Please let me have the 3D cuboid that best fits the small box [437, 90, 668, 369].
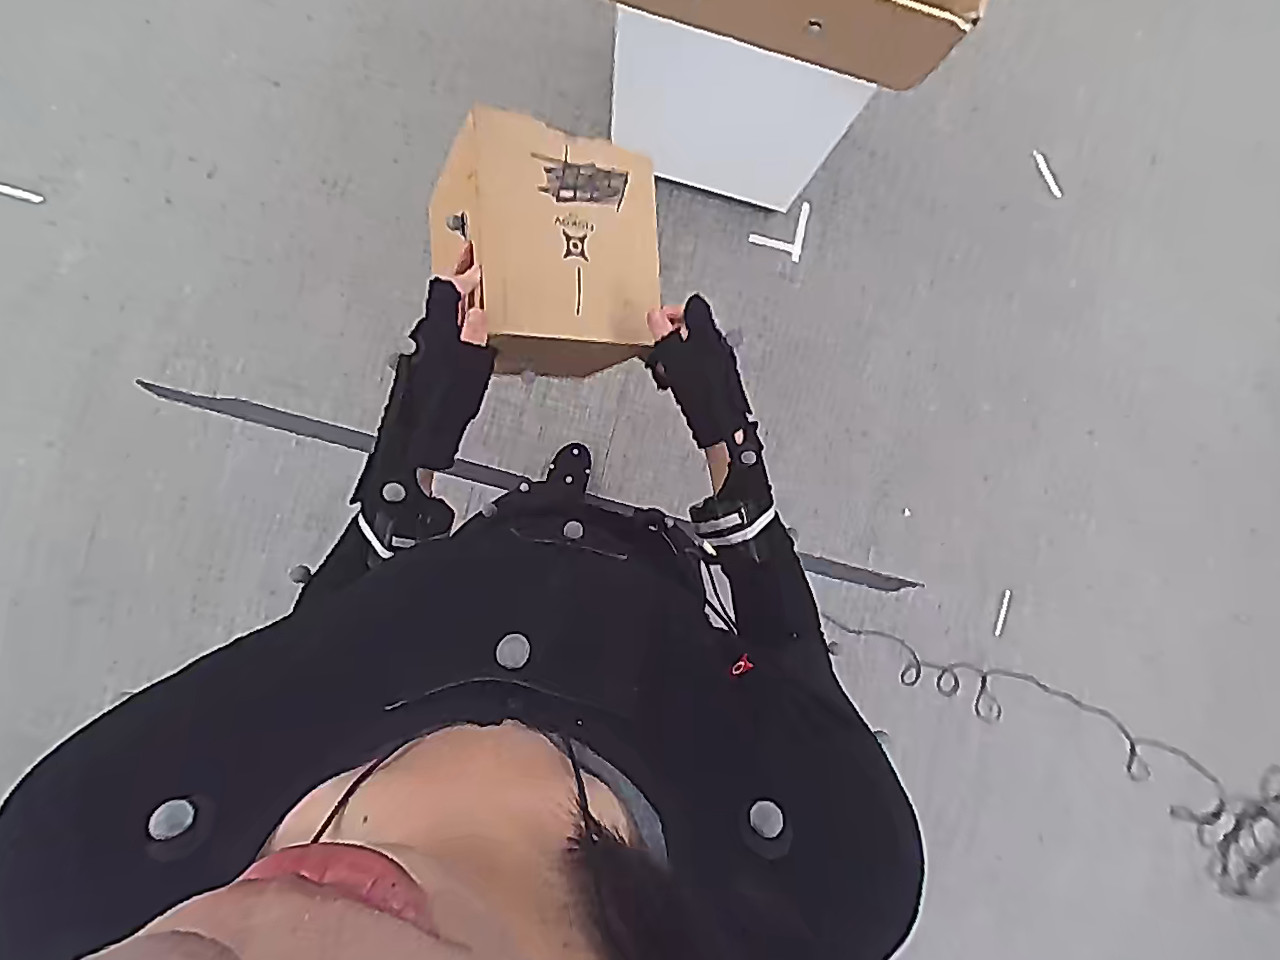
[{"bbox_3d":[-0.090,-0.211,0.516,0.168,0.176,0.179,-4,93,-31],"label":"small box"}]
